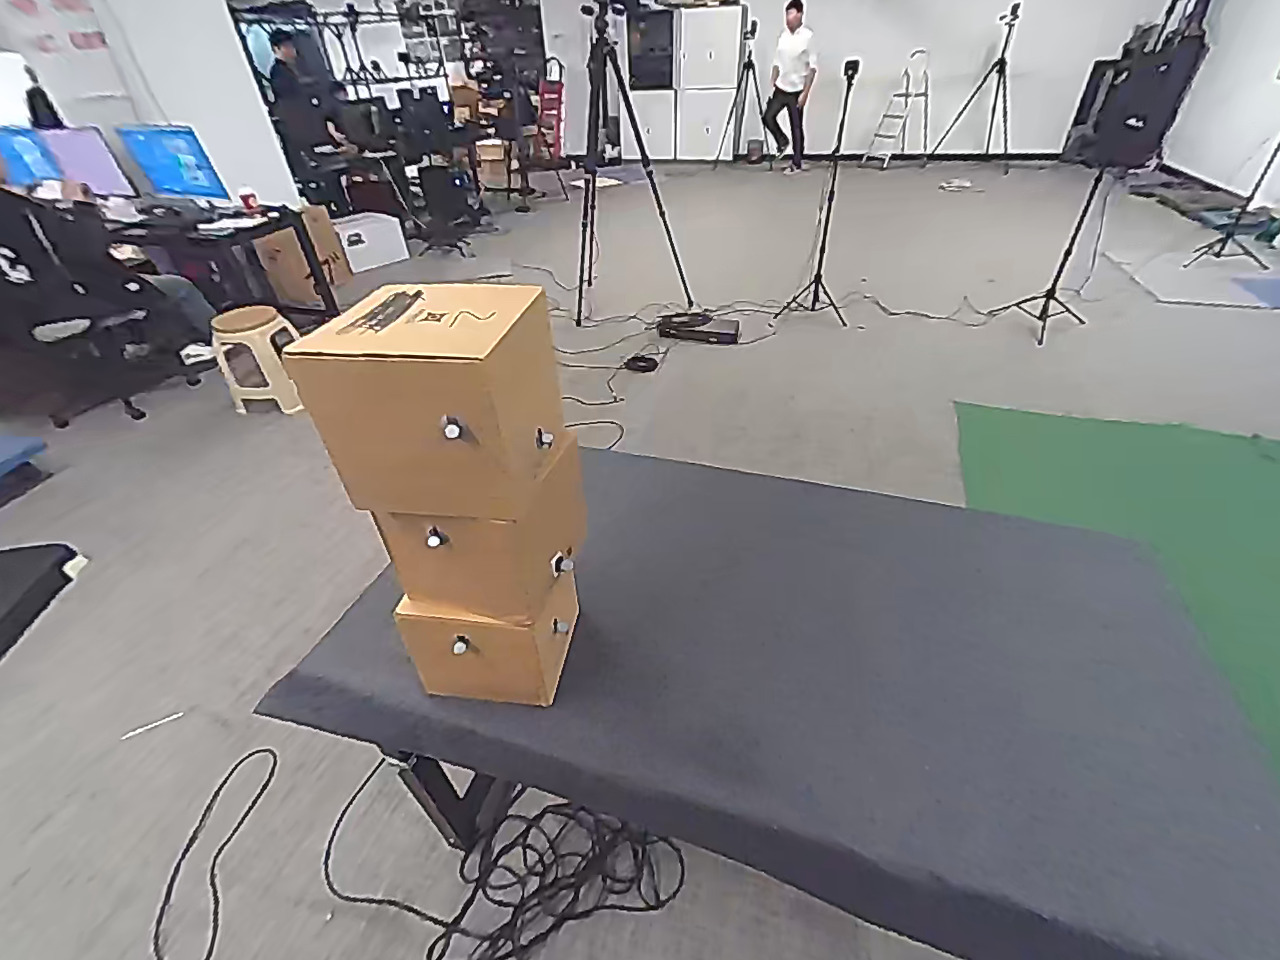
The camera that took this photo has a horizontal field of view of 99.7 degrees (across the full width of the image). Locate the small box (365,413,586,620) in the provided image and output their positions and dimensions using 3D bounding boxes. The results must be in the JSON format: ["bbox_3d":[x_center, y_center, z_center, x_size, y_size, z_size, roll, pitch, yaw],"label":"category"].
[{"bbox_3d":[-0.176,0.041,0.639,0.179,0.176,0.168,10,40,14],"label":"small box"}]

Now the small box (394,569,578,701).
[{"bbox_3d":[-0.189,0.176,0.731,0.179,0.176,0.168,3,37,8],"label":"small box"}]
